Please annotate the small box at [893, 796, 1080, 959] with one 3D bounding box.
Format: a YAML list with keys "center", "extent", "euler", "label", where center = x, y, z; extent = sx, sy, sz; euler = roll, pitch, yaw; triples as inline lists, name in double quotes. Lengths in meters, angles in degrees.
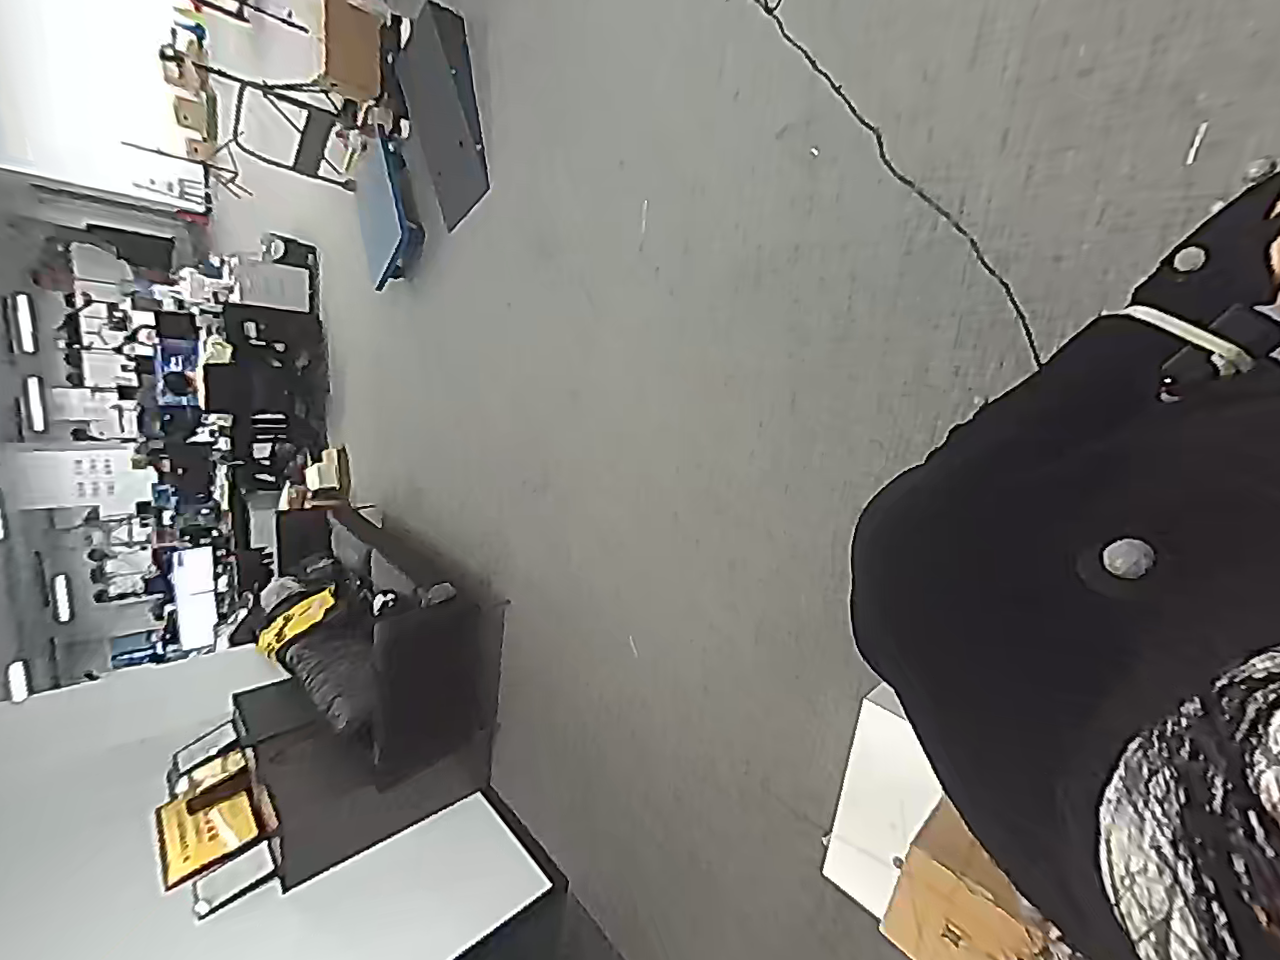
- center: [0.496, 0.608, 0.774]
  extent: [0.168, 0.176, 0.179]
  euler: [22, 111, 43]
  label: "small box"
